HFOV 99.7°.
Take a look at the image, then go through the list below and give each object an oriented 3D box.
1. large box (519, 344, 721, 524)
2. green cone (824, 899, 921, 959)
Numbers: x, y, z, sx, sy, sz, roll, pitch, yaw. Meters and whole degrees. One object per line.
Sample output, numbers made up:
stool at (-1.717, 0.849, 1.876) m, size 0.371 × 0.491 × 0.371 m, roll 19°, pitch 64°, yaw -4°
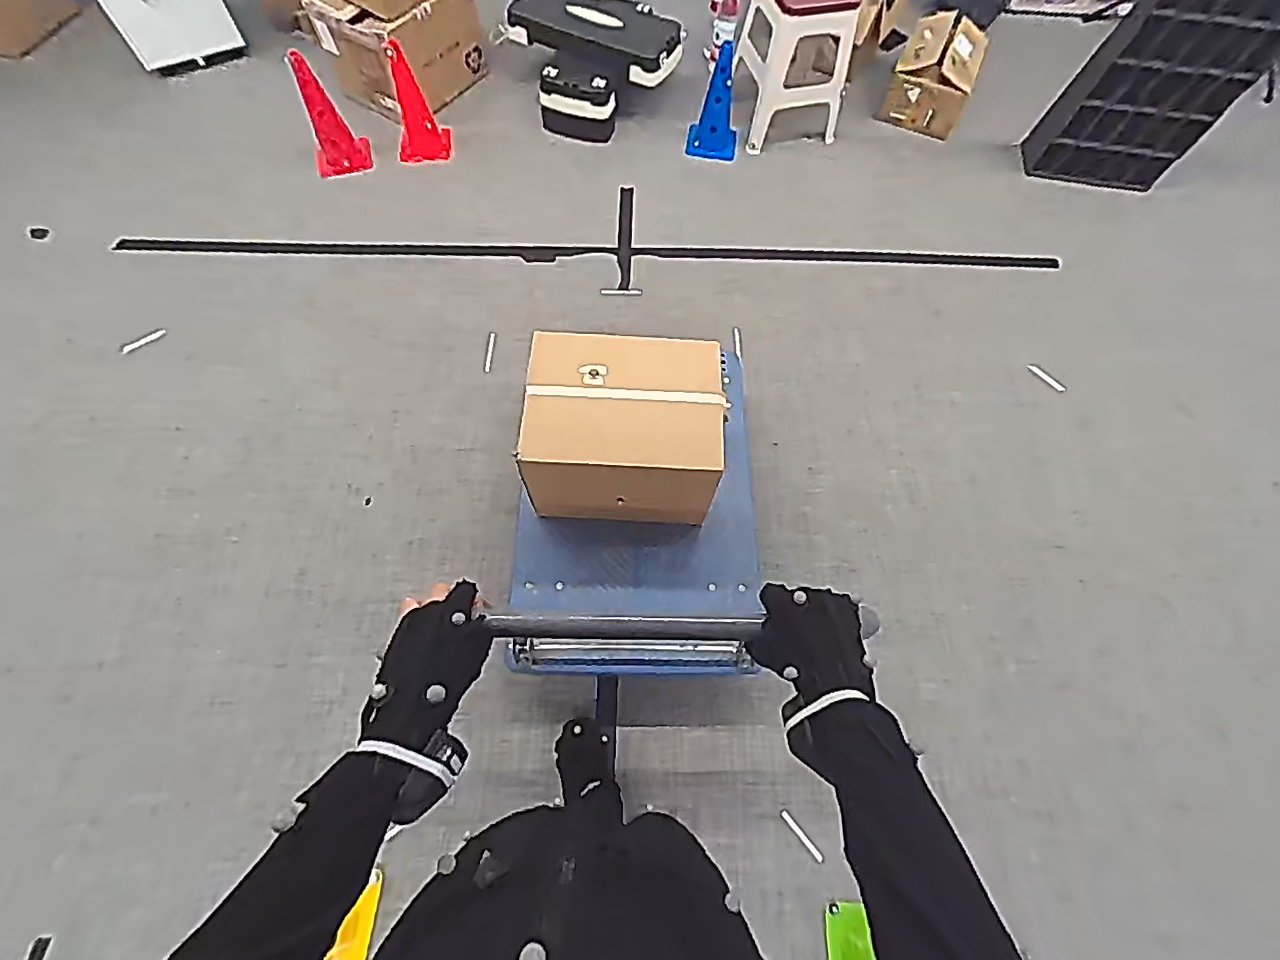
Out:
large box at (-0.037, -0.092, 1.254) m, size 0.408 × 0.320 × 0.320 m, roll 3°, pitch 66°, yaw 0°
green cone at (0.490, 0.919, 0.956) m, size 0.202 × 0.368 × 0.200 m, roll 5°, pitch 65°, yaw -1°
